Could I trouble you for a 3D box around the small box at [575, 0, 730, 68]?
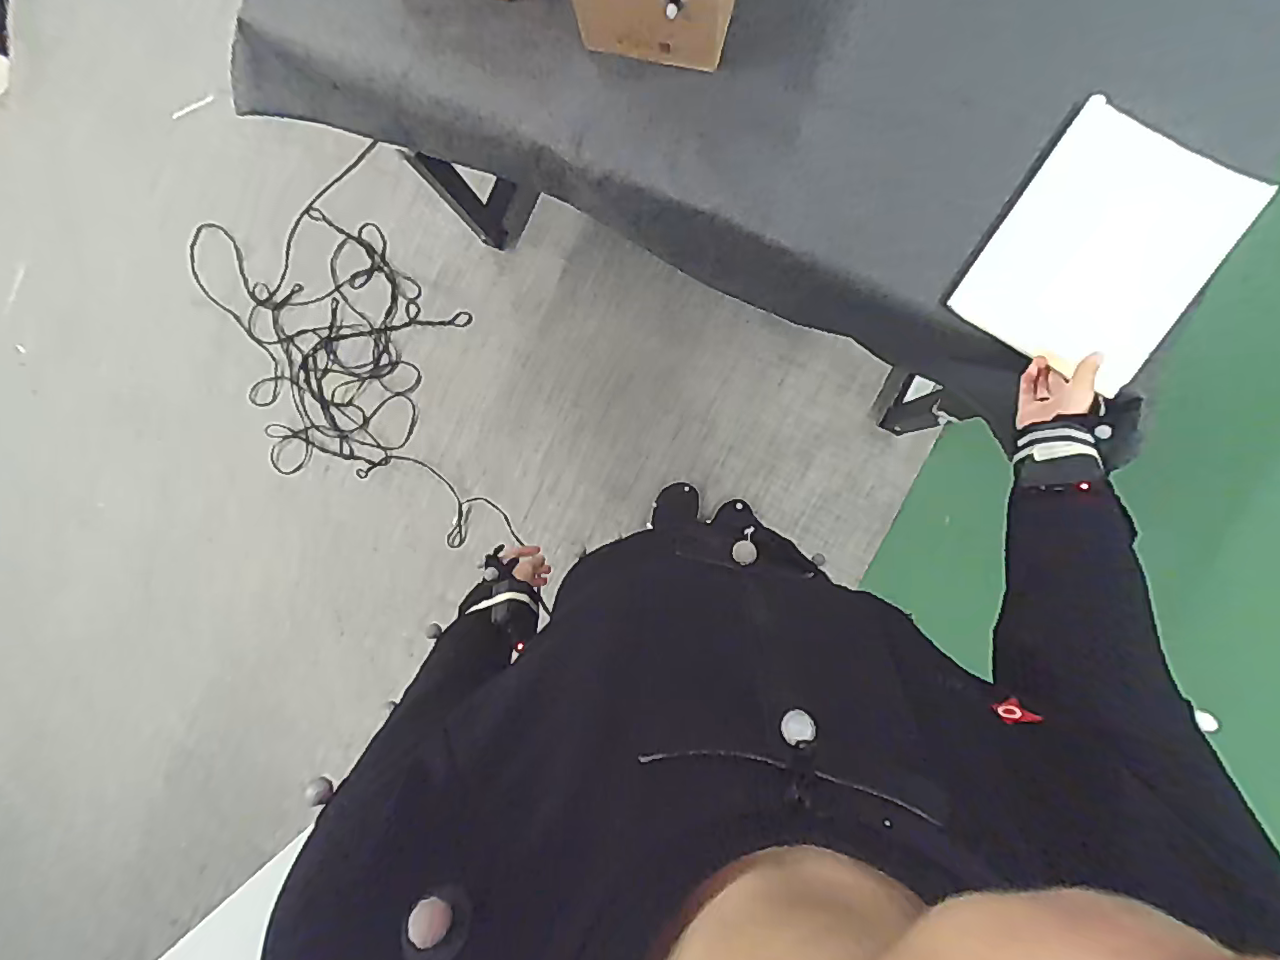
[{"bbox_3d":[0.022,-0.585,0.567,0.168,0.176,0.179,15,90,5],"label":"small box"}]
